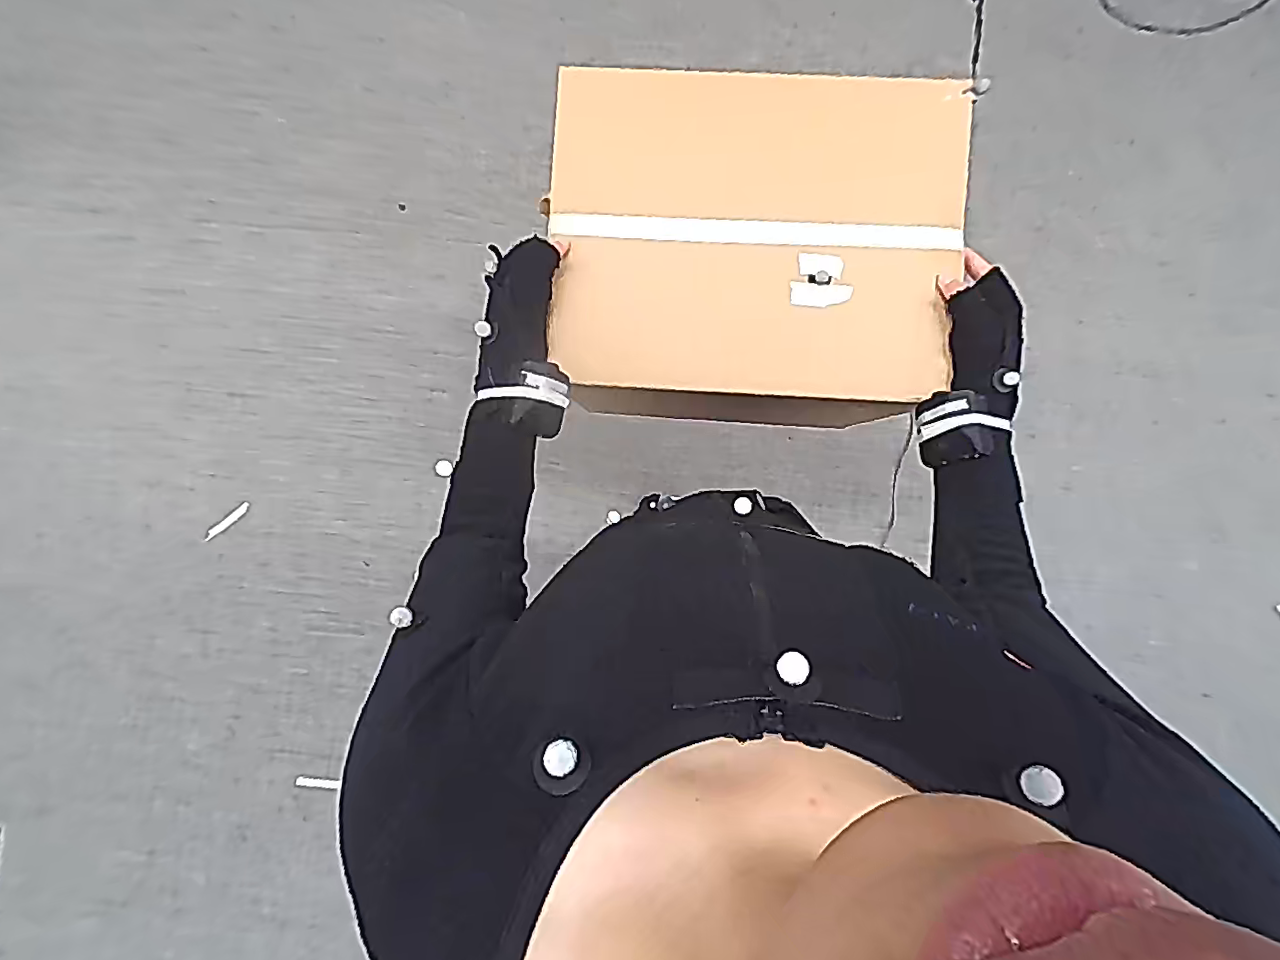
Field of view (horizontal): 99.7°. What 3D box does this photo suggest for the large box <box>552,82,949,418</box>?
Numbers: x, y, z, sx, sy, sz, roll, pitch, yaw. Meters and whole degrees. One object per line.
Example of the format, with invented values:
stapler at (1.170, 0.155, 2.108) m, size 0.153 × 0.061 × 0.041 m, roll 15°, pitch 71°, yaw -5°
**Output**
large box at (0.112, -0.254, 0.702) m, size 0.408 × 0.320 × 0.320 m, roll 3°, pitch 92°, yaw 2°
